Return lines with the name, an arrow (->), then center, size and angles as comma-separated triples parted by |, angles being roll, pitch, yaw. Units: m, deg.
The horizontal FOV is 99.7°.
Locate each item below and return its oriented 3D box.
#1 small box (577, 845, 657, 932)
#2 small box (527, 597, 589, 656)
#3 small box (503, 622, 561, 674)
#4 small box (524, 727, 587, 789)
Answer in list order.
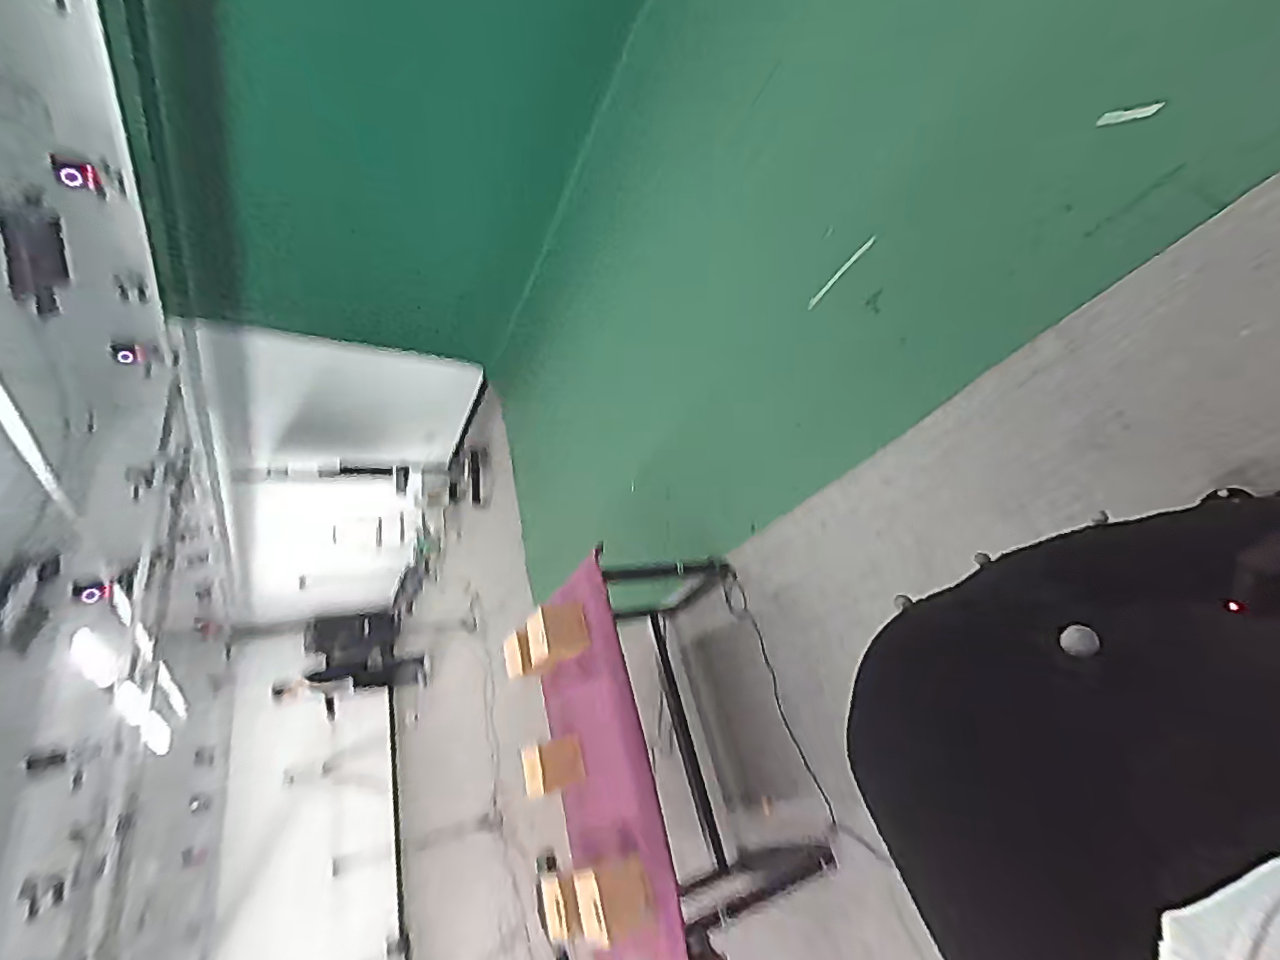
small box -> -0.066, 1.224, 1.624 | 0.179, 0.176, 0.168 | -54, 46, 44
small box -> -0.307, 0.548, 2.025 | 0.179, 0.176, 0.168 | -48, 52, 48
small box -> -0.446, 0.687, 2.232 | 0.179, 0.176, 0.168 | -45, 55, 46
small box -> -0.319, 1.044, 2.031 | 0.179, 0.176, 0.168 | -46, 52, 45
